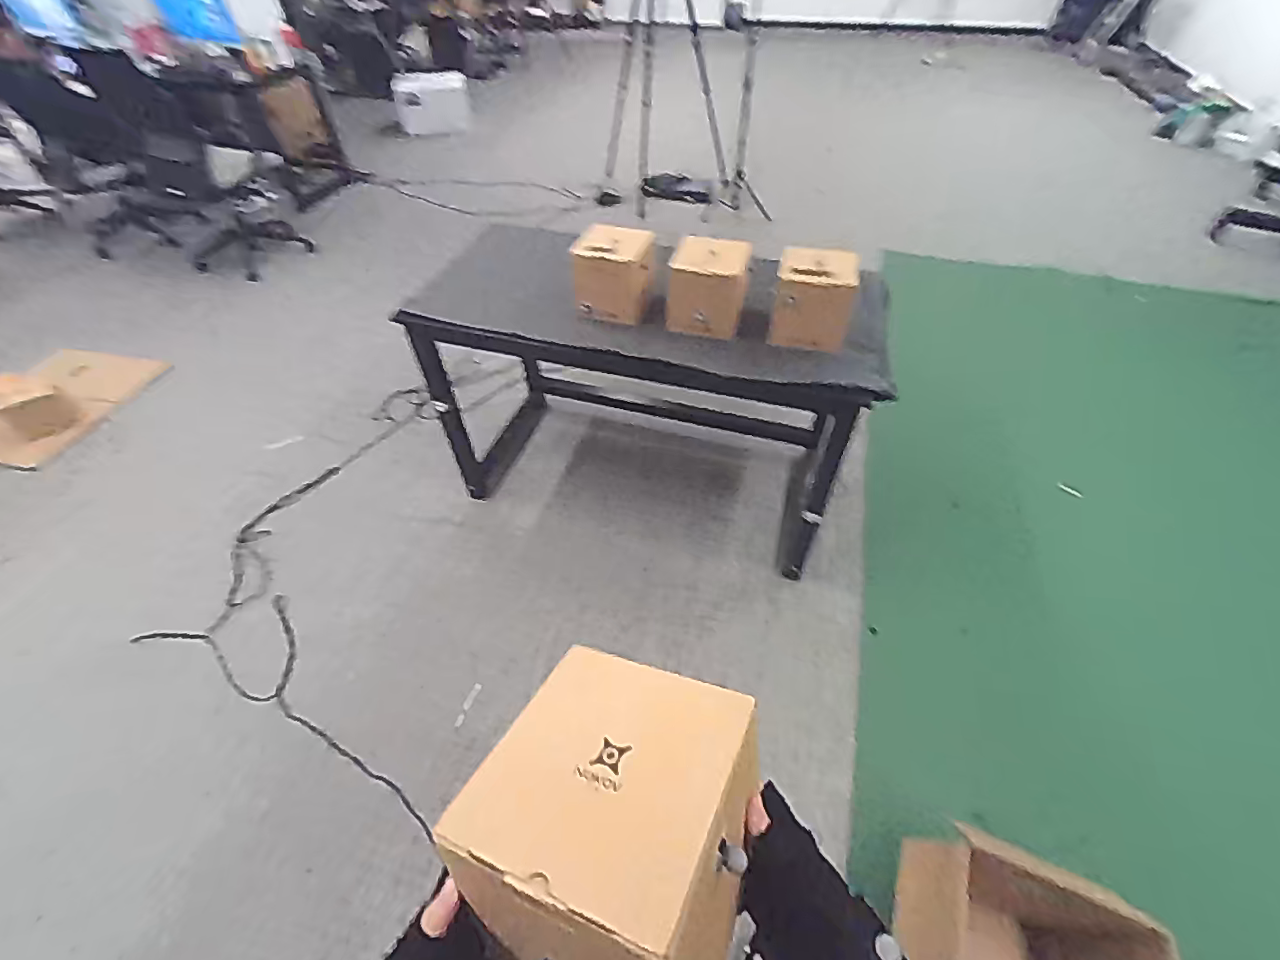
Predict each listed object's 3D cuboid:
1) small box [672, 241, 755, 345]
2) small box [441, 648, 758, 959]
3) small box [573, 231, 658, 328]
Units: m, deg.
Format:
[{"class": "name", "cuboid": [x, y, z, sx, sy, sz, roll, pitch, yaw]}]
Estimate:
[{"class": "small box", "cuboid": [0.176, -0.458, 1.324, 0.168, 0.176, 0.179, 12, 48, 13]}, {"class": "small box", "cuboid": [-0.012, 0.265, 0.409, 0.168, 0.176, 0.179, 6, 30, 24]}, {"class": "small box", "cuboid": [-0.055, -0.509, 1.377, 0.168, 0.176, 0.179, 14, 48, 13]}]
